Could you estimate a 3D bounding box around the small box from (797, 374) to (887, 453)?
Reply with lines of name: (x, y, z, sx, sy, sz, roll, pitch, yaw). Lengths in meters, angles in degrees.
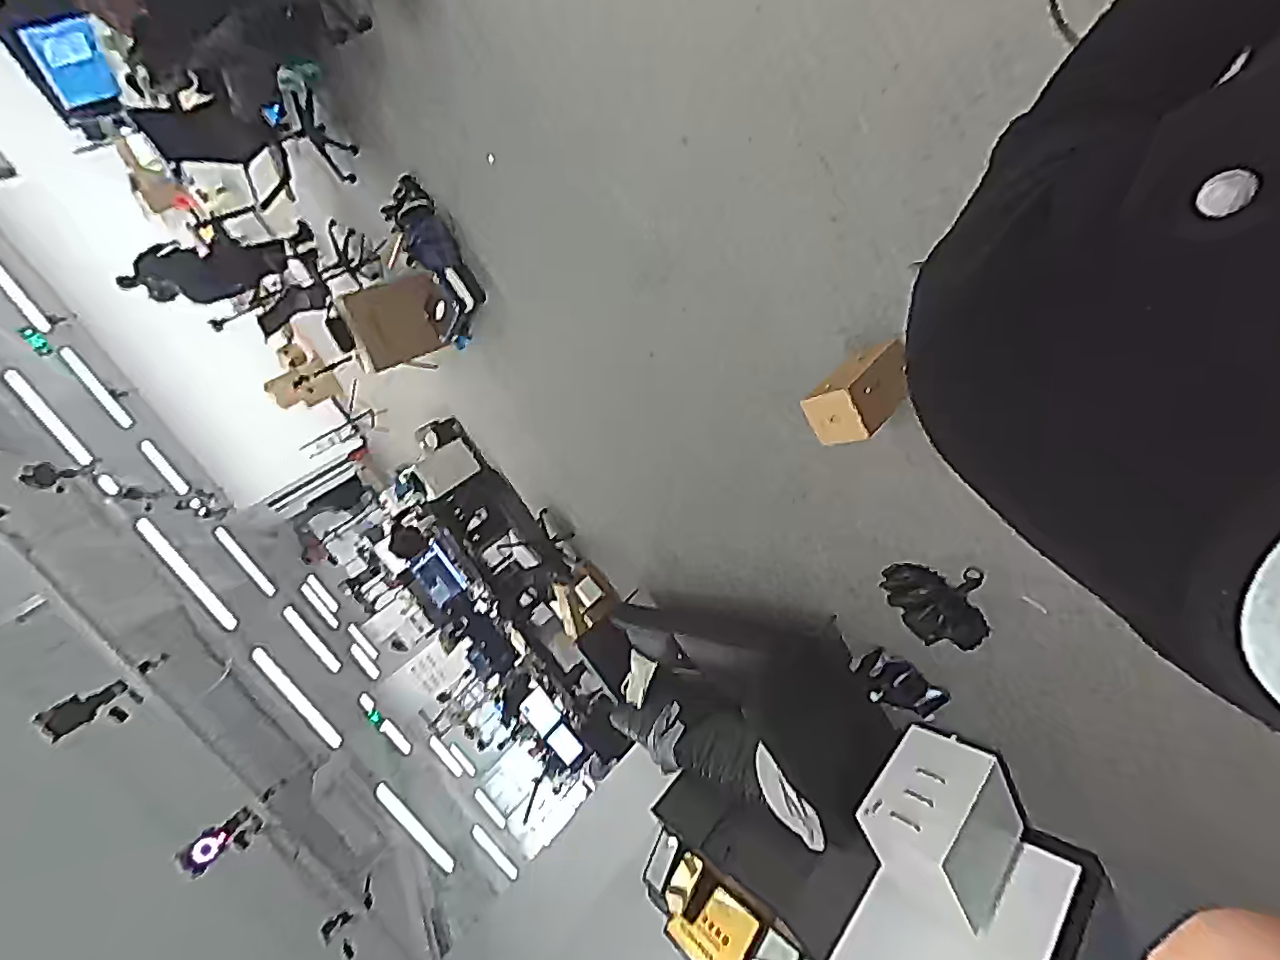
small box: (0.627, -0.203, 1.659, 0.168, 0.176, 0.179, 57, 153, -13)

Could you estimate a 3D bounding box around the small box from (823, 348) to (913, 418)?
small box: (0.734, -0.297, 1.736, 0.168, 0.176, 0.179, 56, 152, -12)
